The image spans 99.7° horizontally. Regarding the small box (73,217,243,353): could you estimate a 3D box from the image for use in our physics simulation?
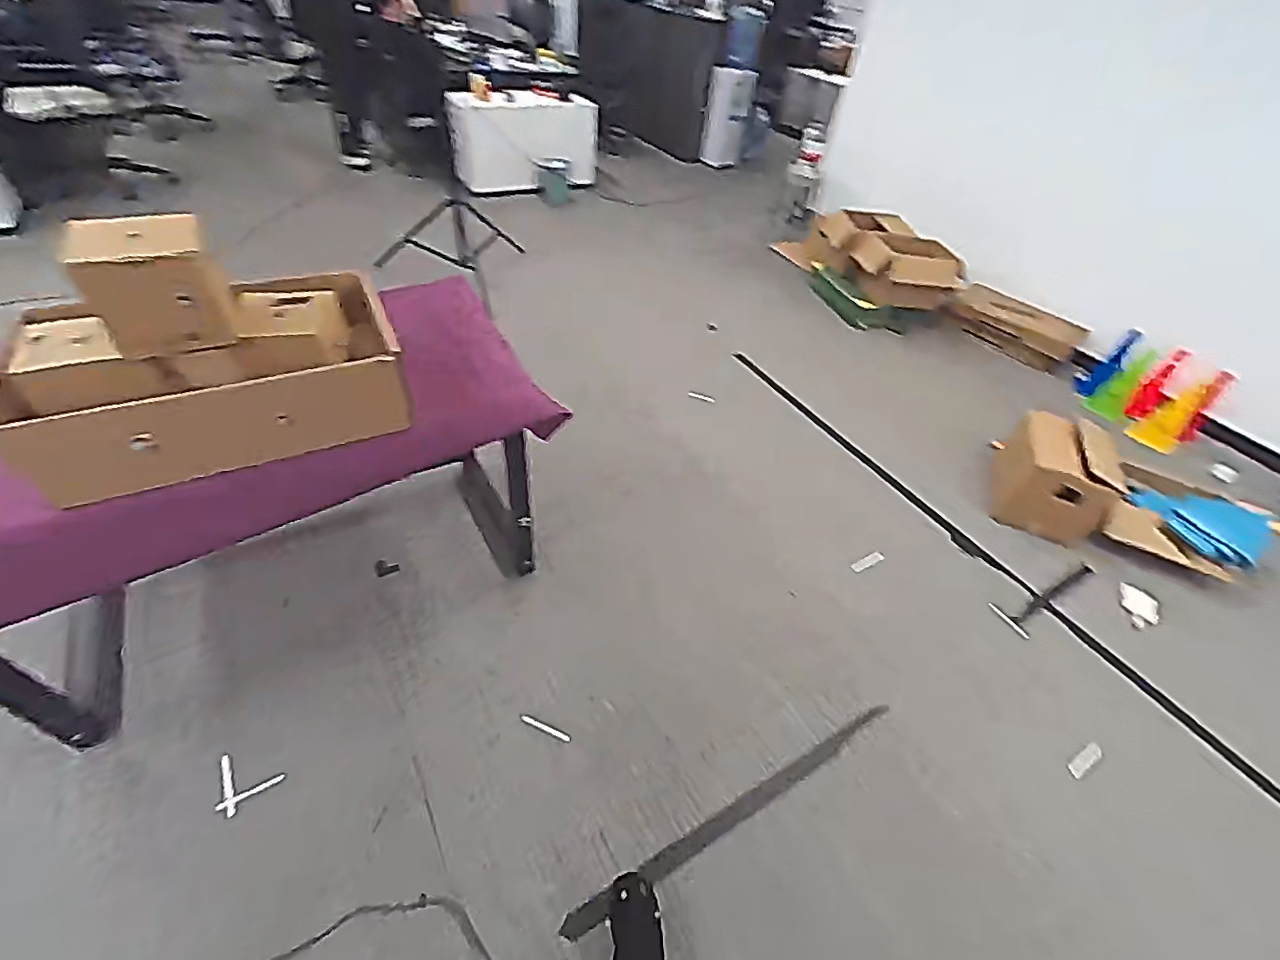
[{"bbox_3d":[-0.814,-0.332,0.931,0.168,0.176,0.179,-19,49,-26],"label":"small box"}]
